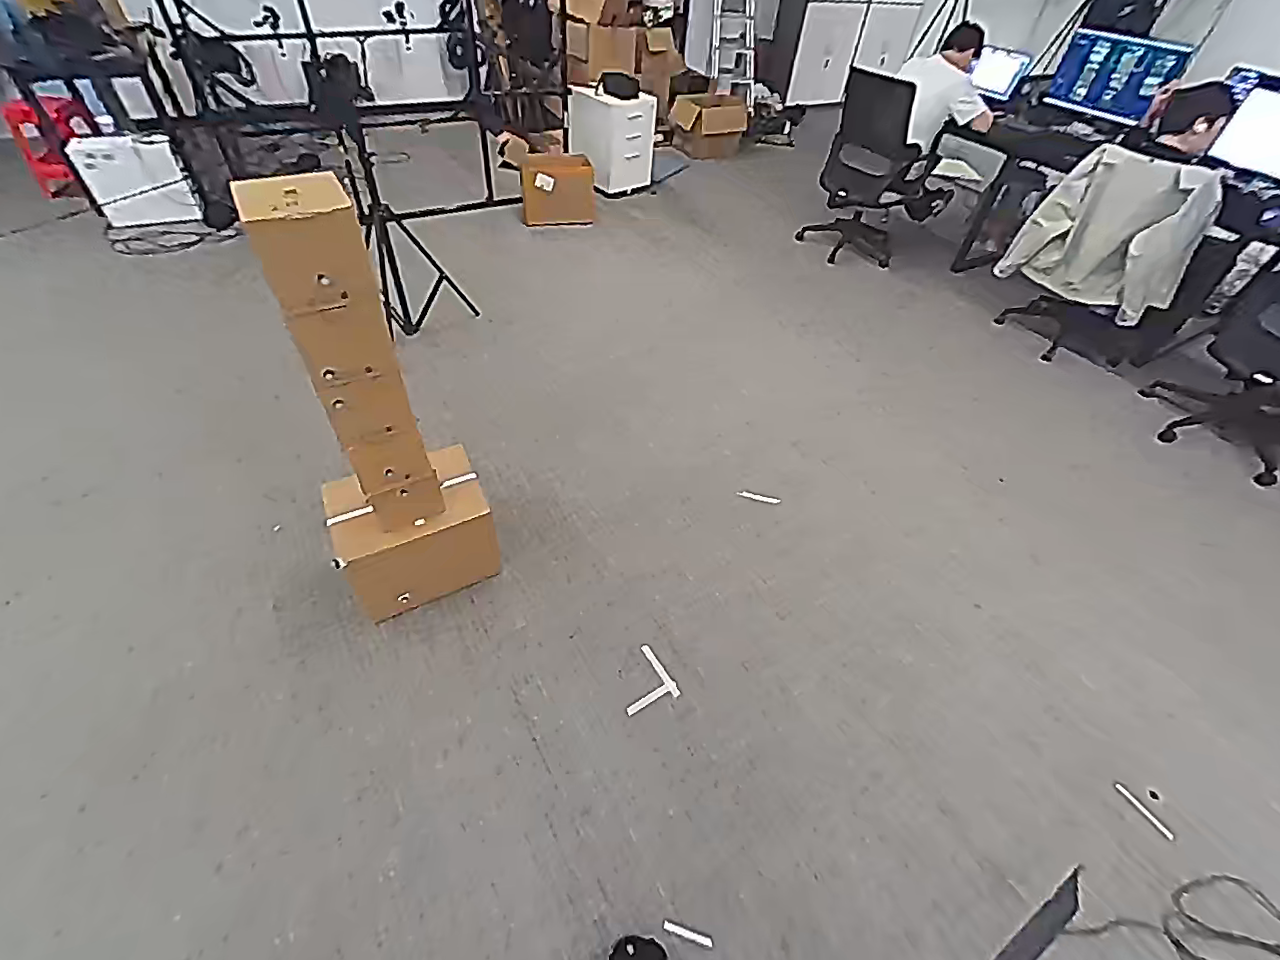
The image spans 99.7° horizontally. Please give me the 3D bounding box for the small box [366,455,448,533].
[{"bbox_3d":[-0.644,0.016,1.467,0.179,0.176,0.168,-22,53,-25],"label":"small box"}]

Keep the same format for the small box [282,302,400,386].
[{"bbox_3d":[-0.608,-0.308,1.101,0.168,0.176,0.179,-20,52,-22],"label":"small box"}]

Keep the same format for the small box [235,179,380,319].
[{"bbox_3d":[-0.595,-0.418,0.979,0.168,0.176,0.179,-23,54,-23],"label":"small box"}]

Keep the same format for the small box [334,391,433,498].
[{"bbox_3d":[-0.633,-0.088,1.343,0.168,0.176,0.179,-22,54,-23],"label":"small box"}]
